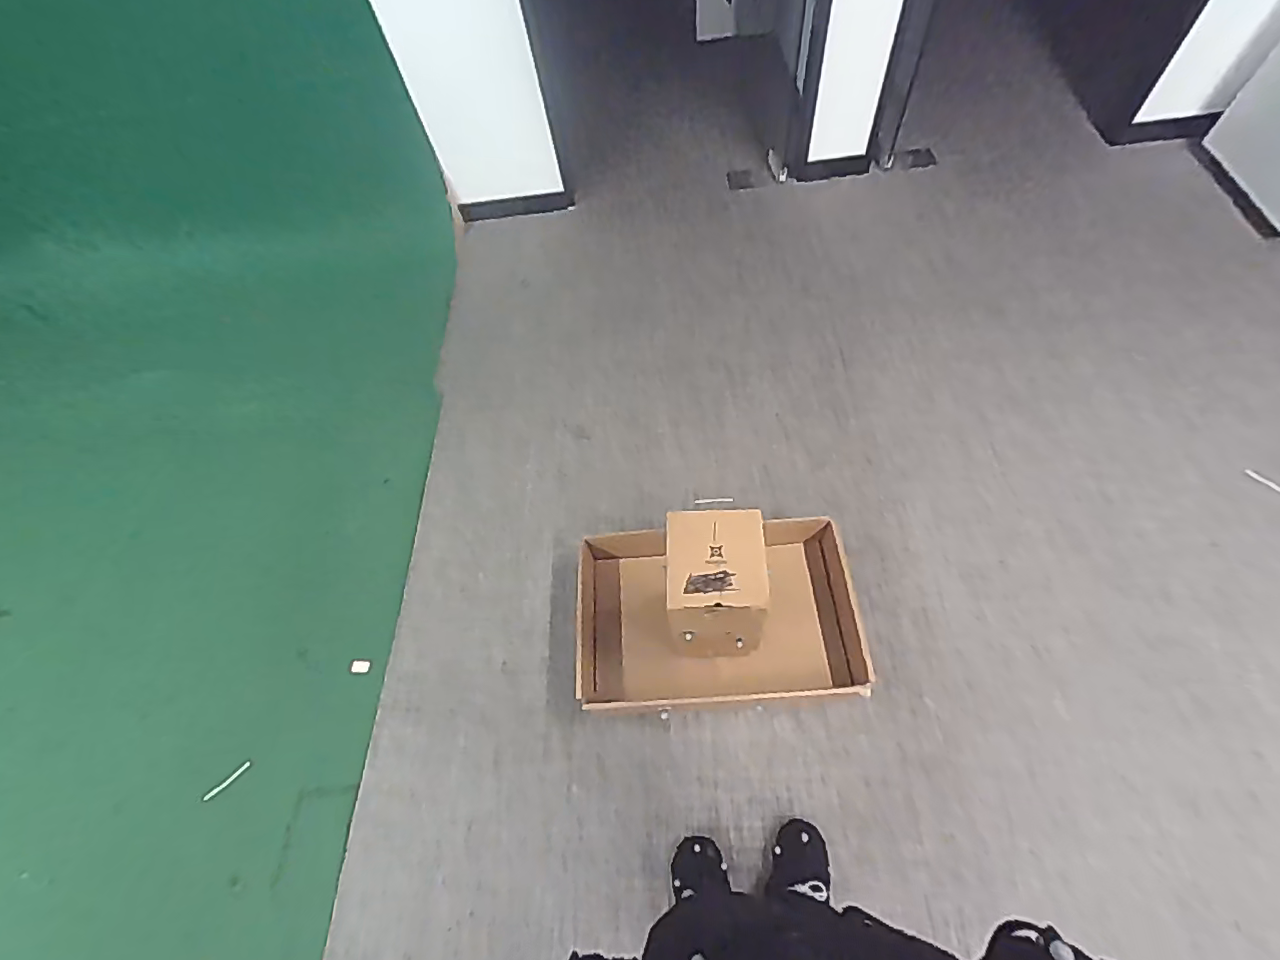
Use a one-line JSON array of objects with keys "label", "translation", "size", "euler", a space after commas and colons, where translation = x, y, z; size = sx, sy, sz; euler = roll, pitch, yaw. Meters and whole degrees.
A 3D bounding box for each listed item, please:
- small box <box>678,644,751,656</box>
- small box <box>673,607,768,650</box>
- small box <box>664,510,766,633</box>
[{"label": "small box", "translation": [0.167, 0.308, 1.269], "size": [0.179, 0.176, 0.168], "euler": [-6, 59, 3]}, {"label": "small box", "translation": [0.152, 0.242, 1.099], "size": [0.179, 0.176, 0.168], "euler": [-5, 60, 4]}, {"label": "small box", "translation": [0.132, 0.170, 0.971], "size": [0.168, 0.176, 0.179], "euler": [-1, 58, 6]}]
